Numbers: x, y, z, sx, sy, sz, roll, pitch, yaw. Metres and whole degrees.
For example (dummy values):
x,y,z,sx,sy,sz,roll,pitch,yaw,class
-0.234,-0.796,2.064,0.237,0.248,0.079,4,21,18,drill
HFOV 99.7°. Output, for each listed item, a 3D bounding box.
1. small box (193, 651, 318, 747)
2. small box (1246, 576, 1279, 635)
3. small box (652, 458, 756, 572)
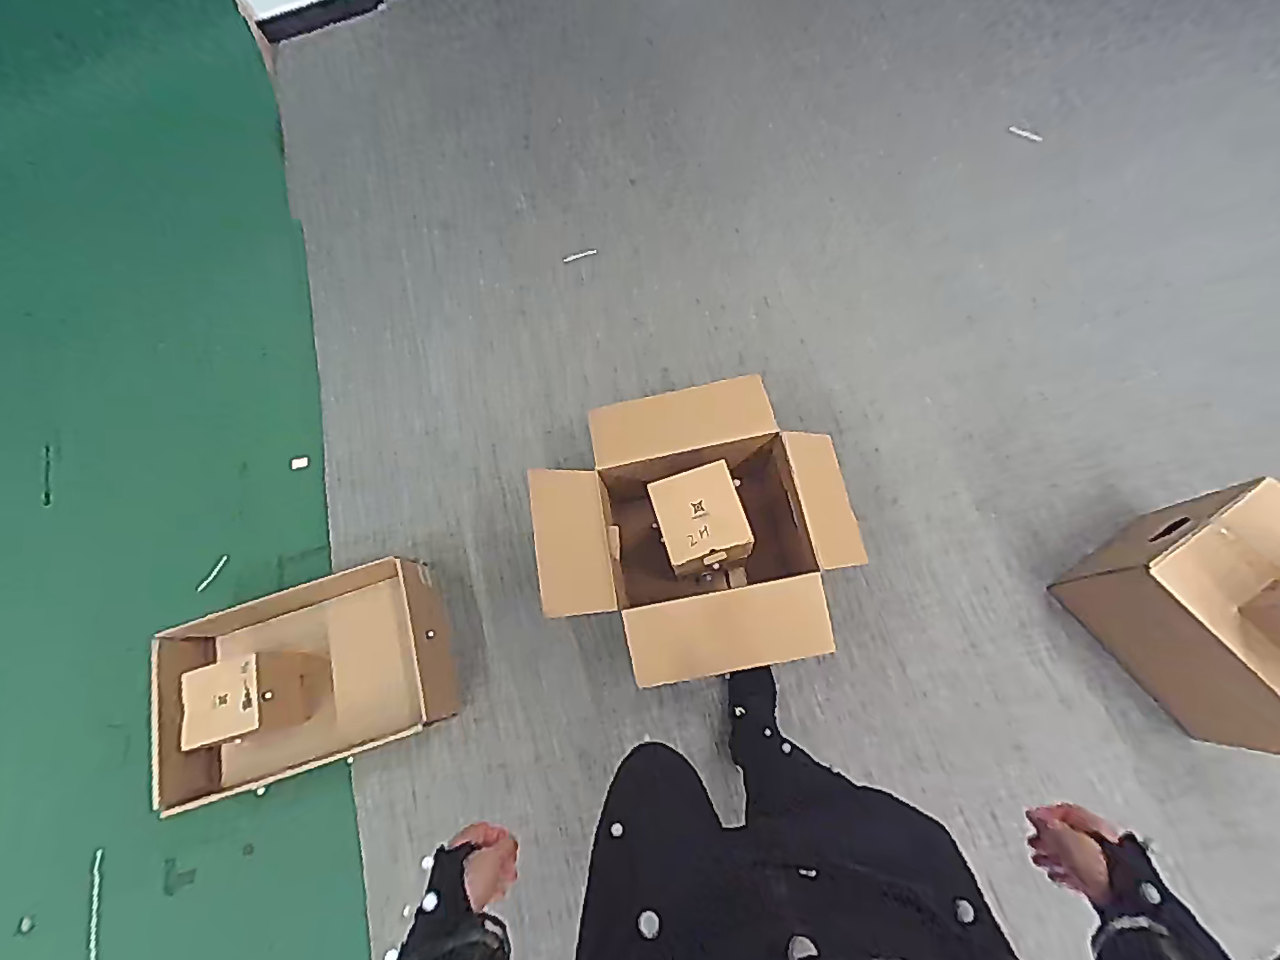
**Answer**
x,y,z,sx,sy,sz,roll,pitch,yaw,class
-0.895,0.510,1.268,0.179,0.176,0.168,-18,70,0,small box
1.156,0.211,0.855,0.168,0.176,0.179,-34,72,-3,small box
0.134,0.080,1.142,0.168,0.176,0.179,-19,71,3,small box
